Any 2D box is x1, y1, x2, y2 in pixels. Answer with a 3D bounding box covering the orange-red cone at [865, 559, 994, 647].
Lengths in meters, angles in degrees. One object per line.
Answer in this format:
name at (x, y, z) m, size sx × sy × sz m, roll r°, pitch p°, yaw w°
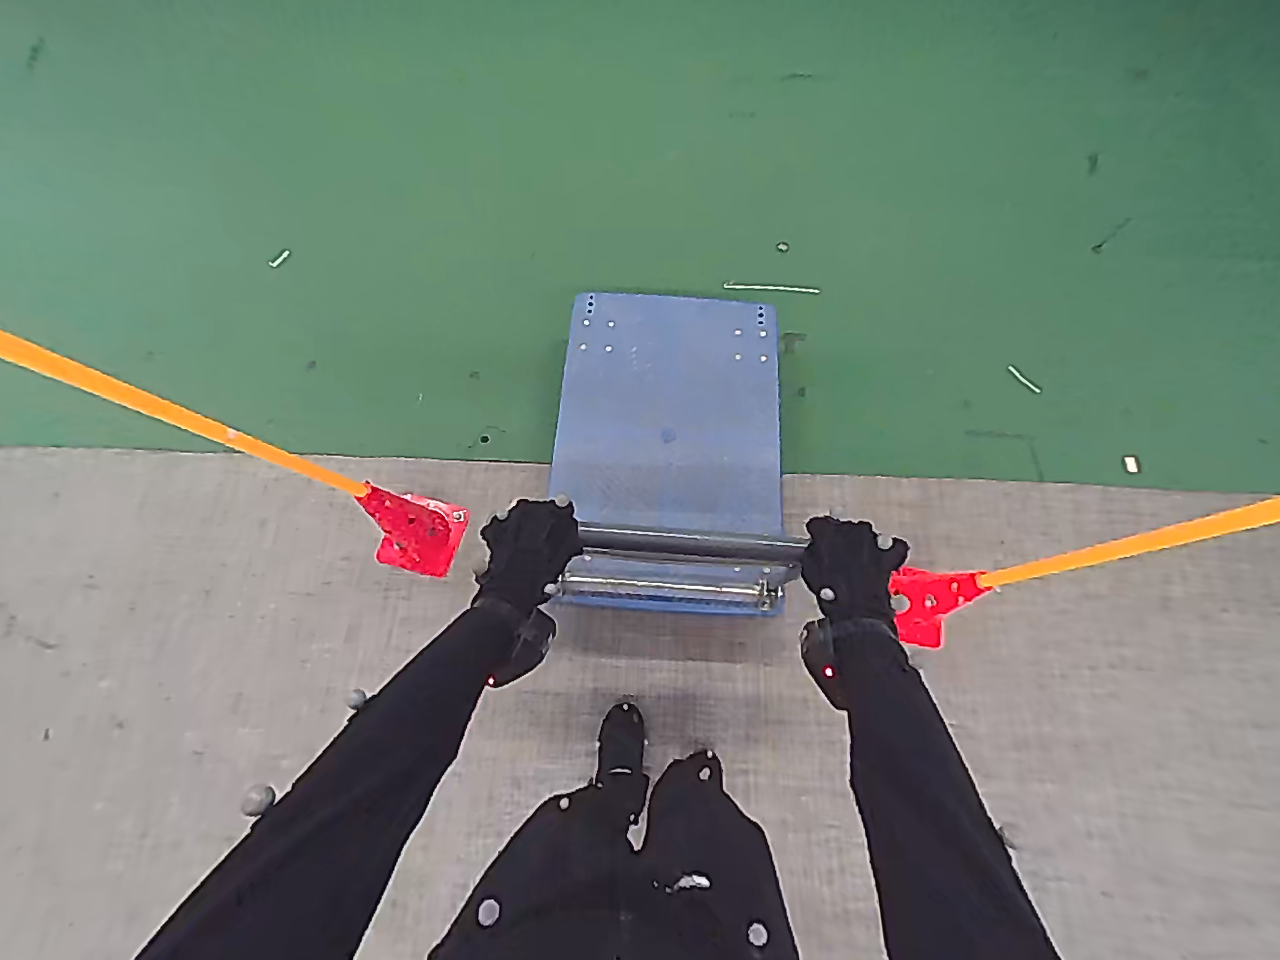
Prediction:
orange-red cone at (0.693, 0.260, 1.248) m, size 0.198 × 0.360 × 0.199 m, roll 12°, pitch 71°, yaw 5°
